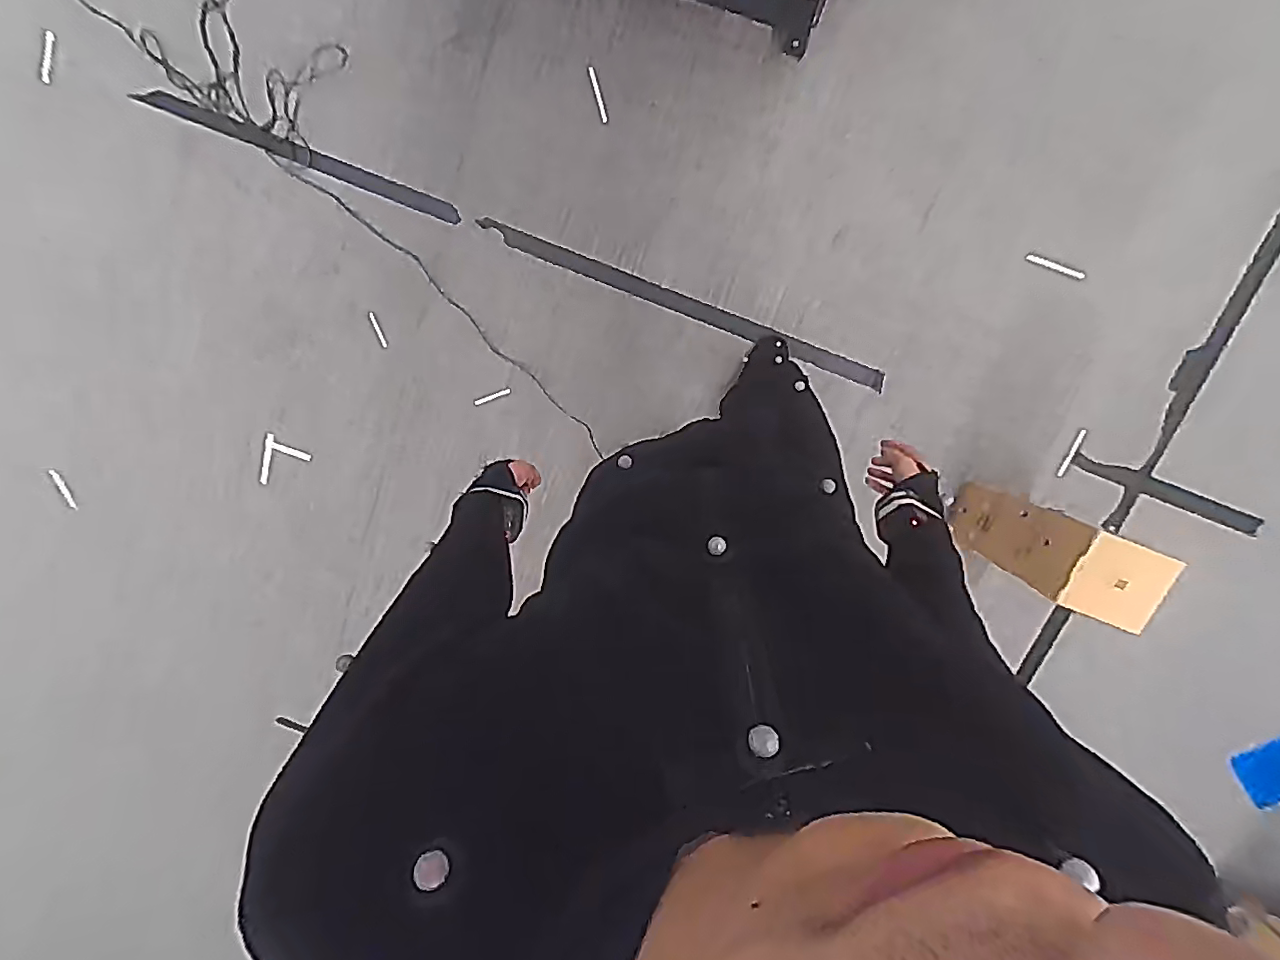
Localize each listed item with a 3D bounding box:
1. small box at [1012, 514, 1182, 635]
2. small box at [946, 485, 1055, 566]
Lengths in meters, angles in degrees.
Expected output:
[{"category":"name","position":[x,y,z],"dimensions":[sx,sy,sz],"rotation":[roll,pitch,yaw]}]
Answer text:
[{"category":"small box","position":[0.937,0.187,1.128],"dimensions":[0.179,0.176,0.168],"rotation":[21,104,2]},{"category":"small box","position":[0.968,0.123,1.449],"dimensions":[0.179,0.176,0.168],"rotation":[18,103,4]}]
